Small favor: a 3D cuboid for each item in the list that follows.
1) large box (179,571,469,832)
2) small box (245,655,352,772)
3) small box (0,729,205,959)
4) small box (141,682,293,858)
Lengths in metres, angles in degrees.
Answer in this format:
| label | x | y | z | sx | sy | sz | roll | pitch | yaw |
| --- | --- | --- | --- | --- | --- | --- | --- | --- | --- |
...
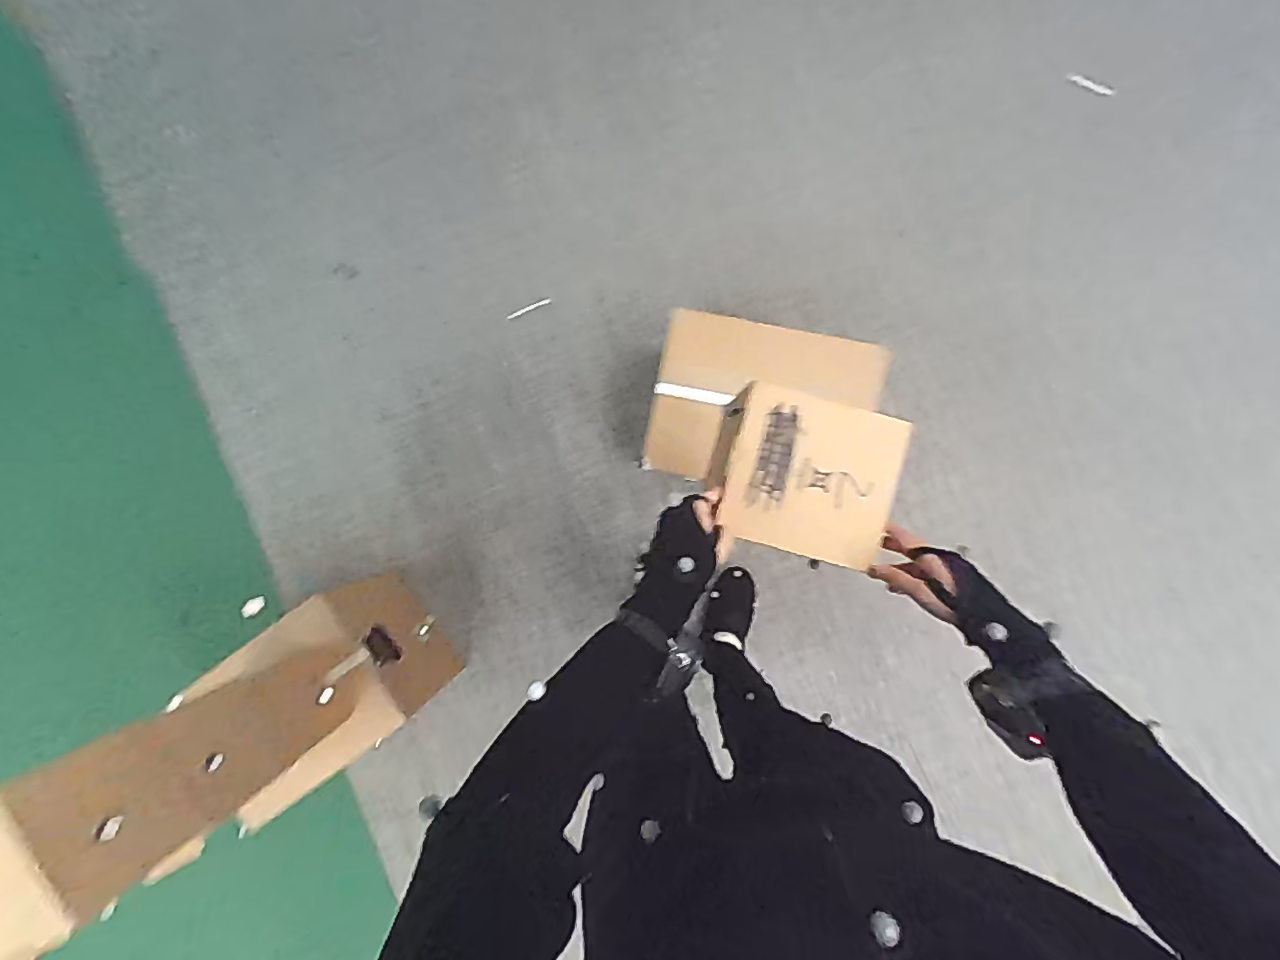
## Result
| label | x | y | z | sx | sy | sz | roll | pitch | yaw |
| --- | --- | --- | --- | --- | --- | --- | --- | --- | --- |
| large box | -0.680 | 0.467 | 1.226 | 0.408 | 0.320 | 0.320 | -37 | 87 | 4 |
| small box | -0.674 | 0.451 | 0.980 | 0.179 | 0.176 | 0.168 | -33 | 90 | 3 |
| small box | -0.692 | 0.445 | 0.652 | 0.168 | 0.176 | 0.179 | -33 | 90 | 3 |
| small box | -0.678 | 0.443 | 0.816 | 0.168 | 0.176 | 0.179 | -32 | 89 | 3 |
